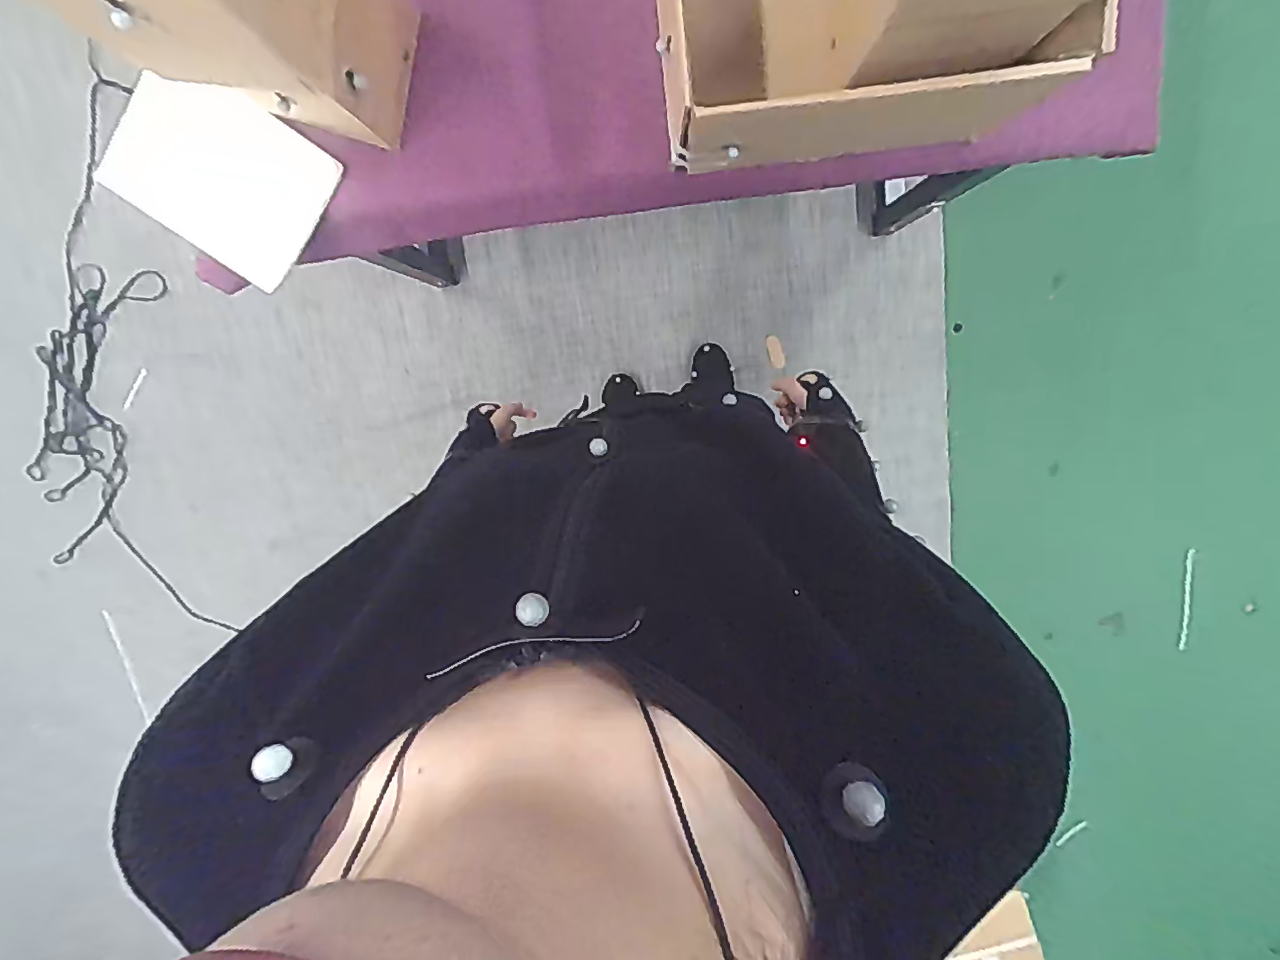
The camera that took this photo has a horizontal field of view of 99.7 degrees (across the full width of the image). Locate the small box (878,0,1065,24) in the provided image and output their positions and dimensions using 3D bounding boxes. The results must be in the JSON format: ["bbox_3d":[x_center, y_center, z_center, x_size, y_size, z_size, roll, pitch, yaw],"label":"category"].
[{"bbox_3d":[0.285,-0.463,0.372,0.179,0.176,0.168,-3,101,5],"label":"small box"}]

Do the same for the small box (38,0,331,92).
[{"bbox_3d":[-0.378,-0.453,0.444,0.179,0.176,0.168,6,102,1],"label":"small box"}]
